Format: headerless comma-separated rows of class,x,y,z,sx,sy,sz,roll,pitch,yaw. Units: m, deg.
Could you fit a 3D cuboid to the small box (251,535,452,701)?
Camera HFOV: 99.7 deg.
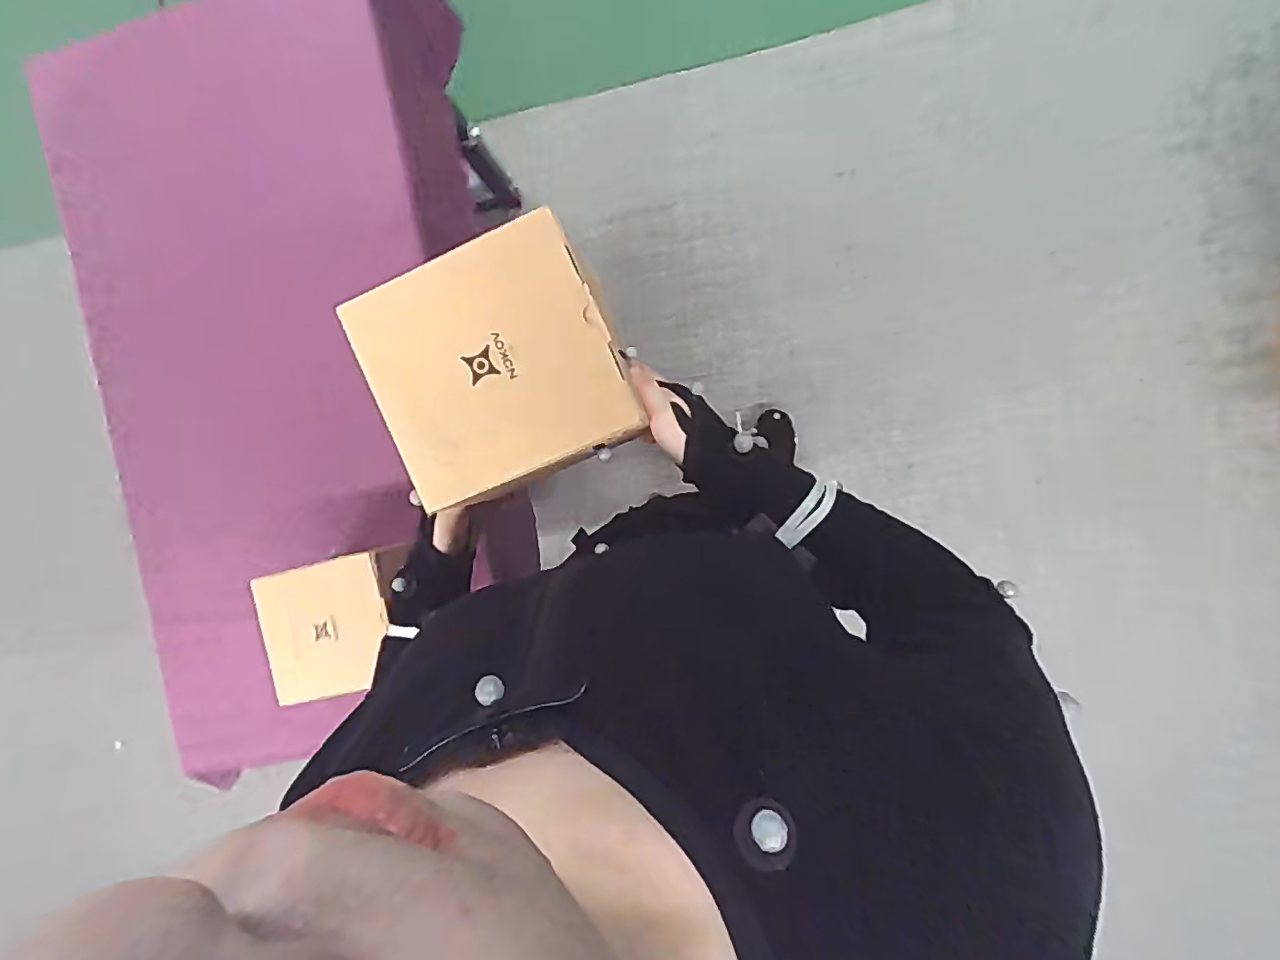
small box,-0.384,0.181,0.755,0.179,0.176,0.168,-14,89,8

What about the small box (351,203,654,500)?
small box,-0.097,-0.093,0.467,0.179,0.176,0.168,-22,92,5
